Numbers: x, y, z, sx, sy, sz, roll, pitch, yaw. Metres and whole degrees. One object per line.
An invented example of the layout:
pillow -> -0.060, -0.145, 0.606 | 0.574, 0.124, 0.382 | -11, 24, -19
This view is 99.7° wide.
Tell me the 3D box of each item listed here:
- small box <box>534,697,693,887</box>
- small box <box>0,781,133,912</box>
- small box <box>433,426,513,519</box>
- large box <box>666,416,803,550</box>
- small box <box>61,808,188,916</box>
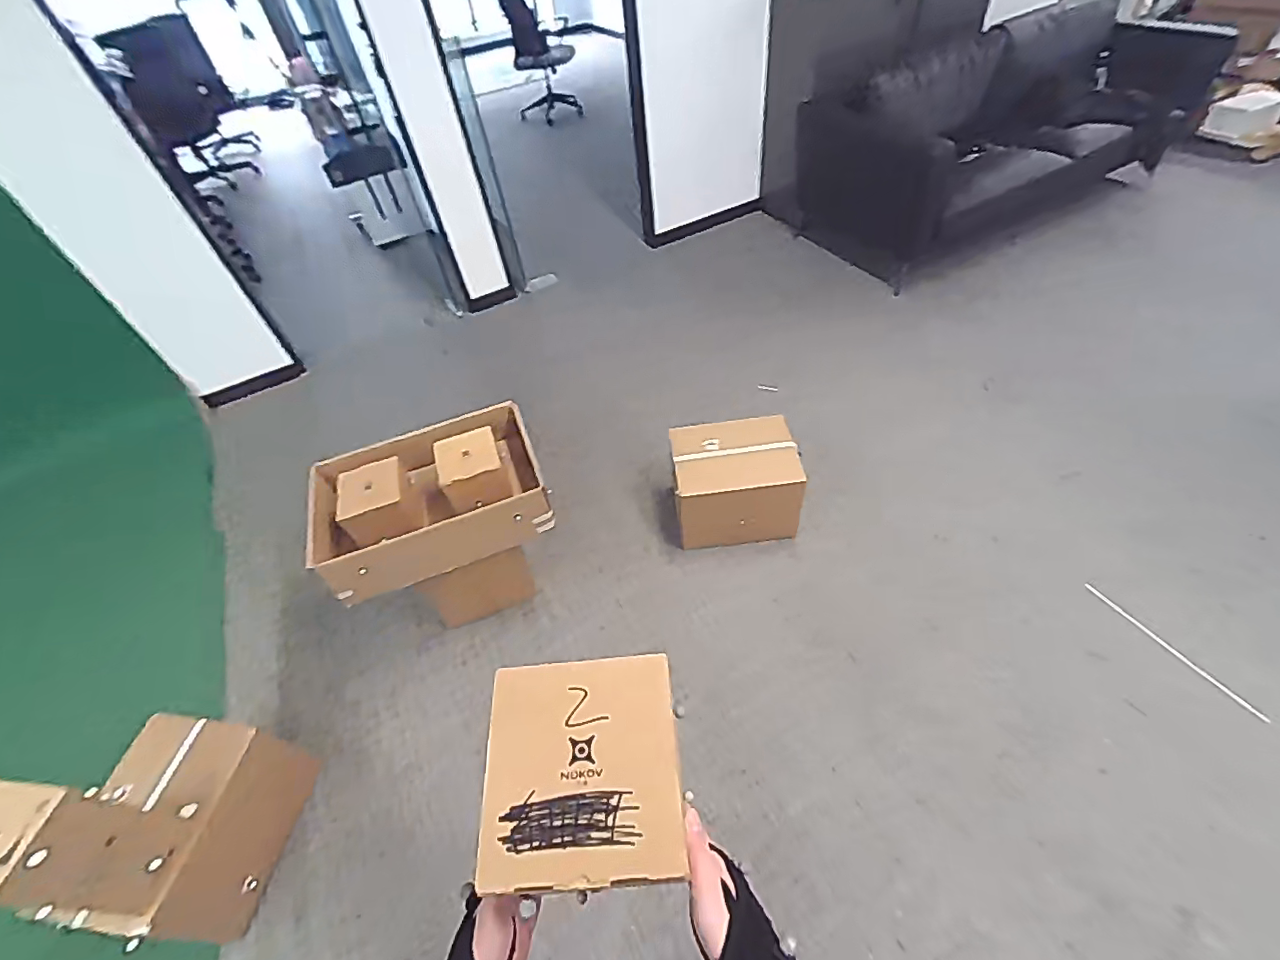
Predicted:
small box -> -0.025, 0.382, 0.659 | 0.168, 0.176, 0.179 | -5, 52, 1
small box -> -1.090, 0.654, 0.963 | 0.179, 0.176, 0.168 | 1, 49, 8
small box -> -0.476, -0.019, 1.549 | 0.168, 0.176, 0.179 | -19, 51, -9
large box -> 0.315, 0.017, 1.886 | 0.408, 0.320, 0.320 | -8, 48, 2
small box -> -1.087, 0.761, 1.087 | 0.179, 0.176, 0.168 | 2, 50, 7
